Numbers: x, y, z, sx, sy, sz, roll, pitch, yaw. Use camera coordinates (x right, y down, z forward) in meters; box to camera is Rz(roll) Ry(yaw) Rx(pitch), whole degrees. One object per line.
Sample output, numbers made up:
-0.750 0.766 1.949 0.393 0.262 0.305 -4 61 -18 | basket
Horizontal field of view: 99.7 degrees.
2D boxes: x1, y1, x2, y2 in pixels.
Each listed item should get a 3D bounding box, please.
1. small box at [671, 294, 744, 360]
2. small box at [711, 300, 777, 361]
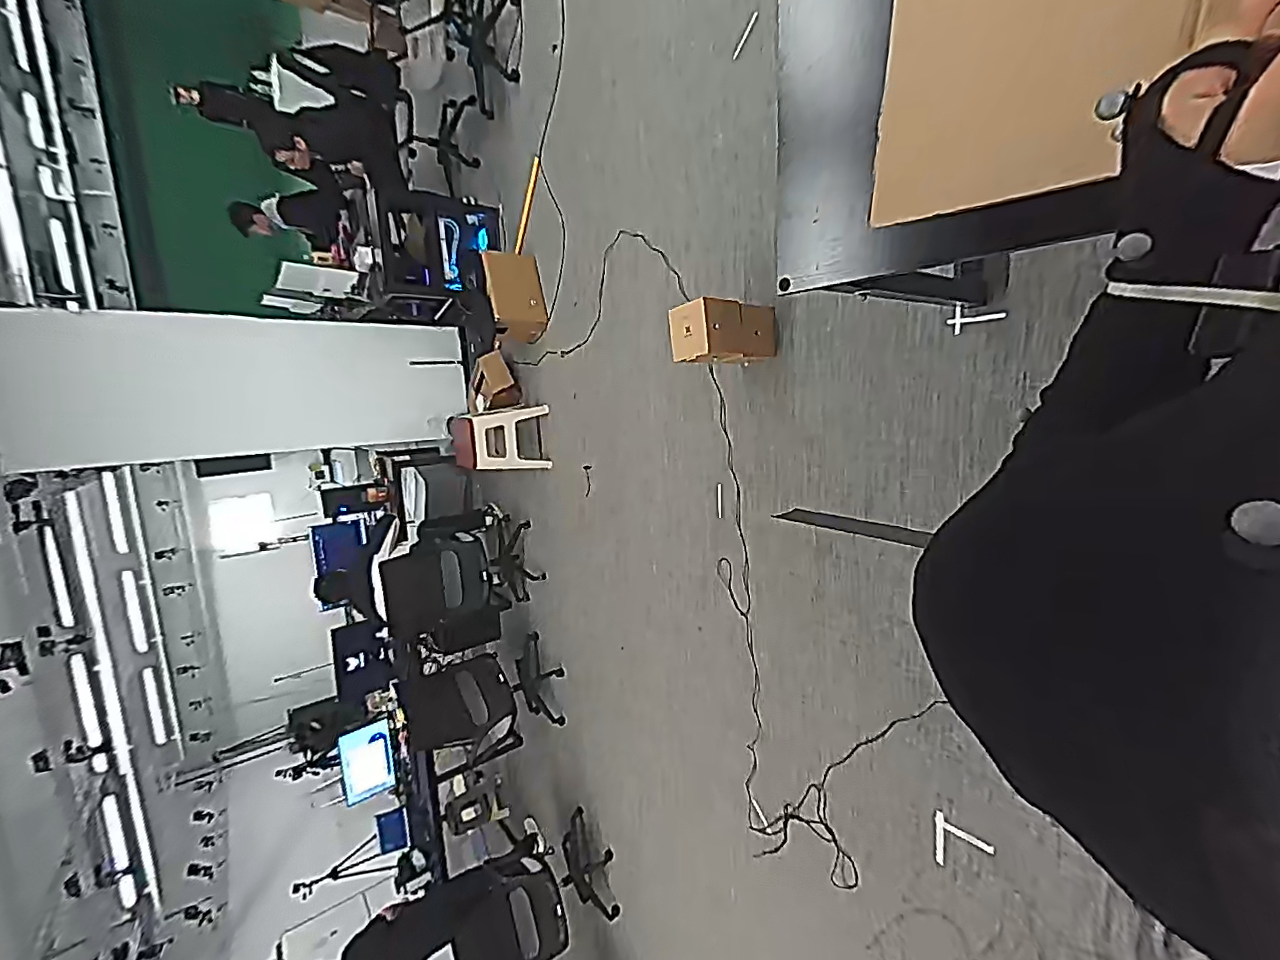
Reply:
0.224 -0.495 1.771 0.168 0.176 0.179 -1 95 53 | small box
0.355 -0.509 1.867 0.168 0.176 0.179 4 101 53 | small box
